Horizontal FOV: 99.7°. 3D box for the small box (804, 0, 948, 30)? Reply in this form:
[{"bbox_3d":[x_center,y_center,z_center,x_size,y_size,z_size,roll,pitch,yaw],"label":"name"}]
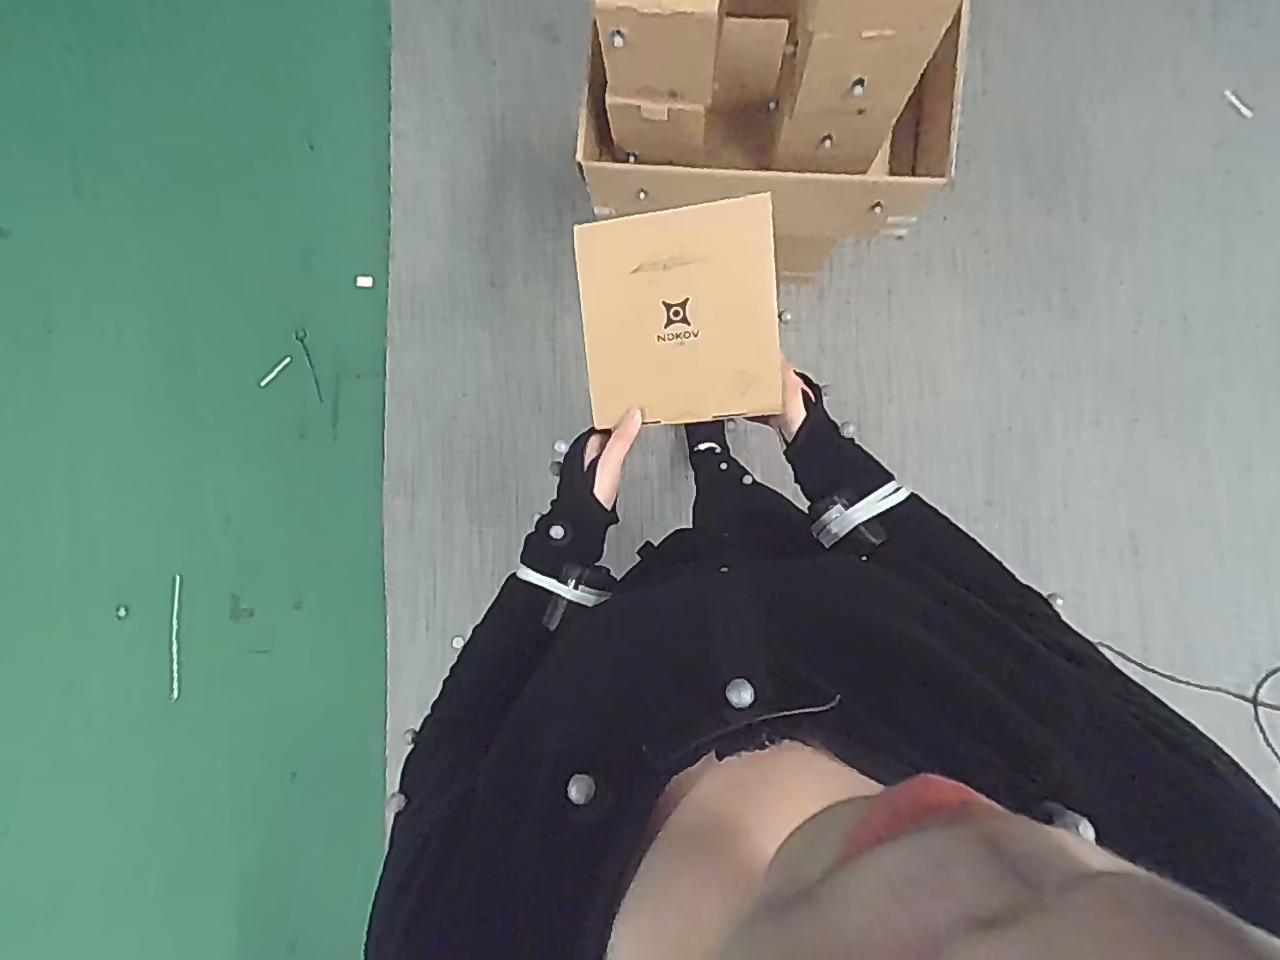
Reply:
[{"bbox_3d":[0.289,-0.650,0.606,0.179,0.176,0.168,3,89,5],"label":"small box"}]

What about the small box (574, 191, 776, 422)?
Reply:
[{"bbox_3d":[0.044,-0.153,0.533,0.168,0.176,0.179,-3,98,10],"label":"small box"}]

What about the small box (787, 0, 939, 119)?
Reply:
[{"bbox_3d":[0.308,-0.648,0.769,0.168,0.176,0.179,2,90,5],"label":"small box"}]
